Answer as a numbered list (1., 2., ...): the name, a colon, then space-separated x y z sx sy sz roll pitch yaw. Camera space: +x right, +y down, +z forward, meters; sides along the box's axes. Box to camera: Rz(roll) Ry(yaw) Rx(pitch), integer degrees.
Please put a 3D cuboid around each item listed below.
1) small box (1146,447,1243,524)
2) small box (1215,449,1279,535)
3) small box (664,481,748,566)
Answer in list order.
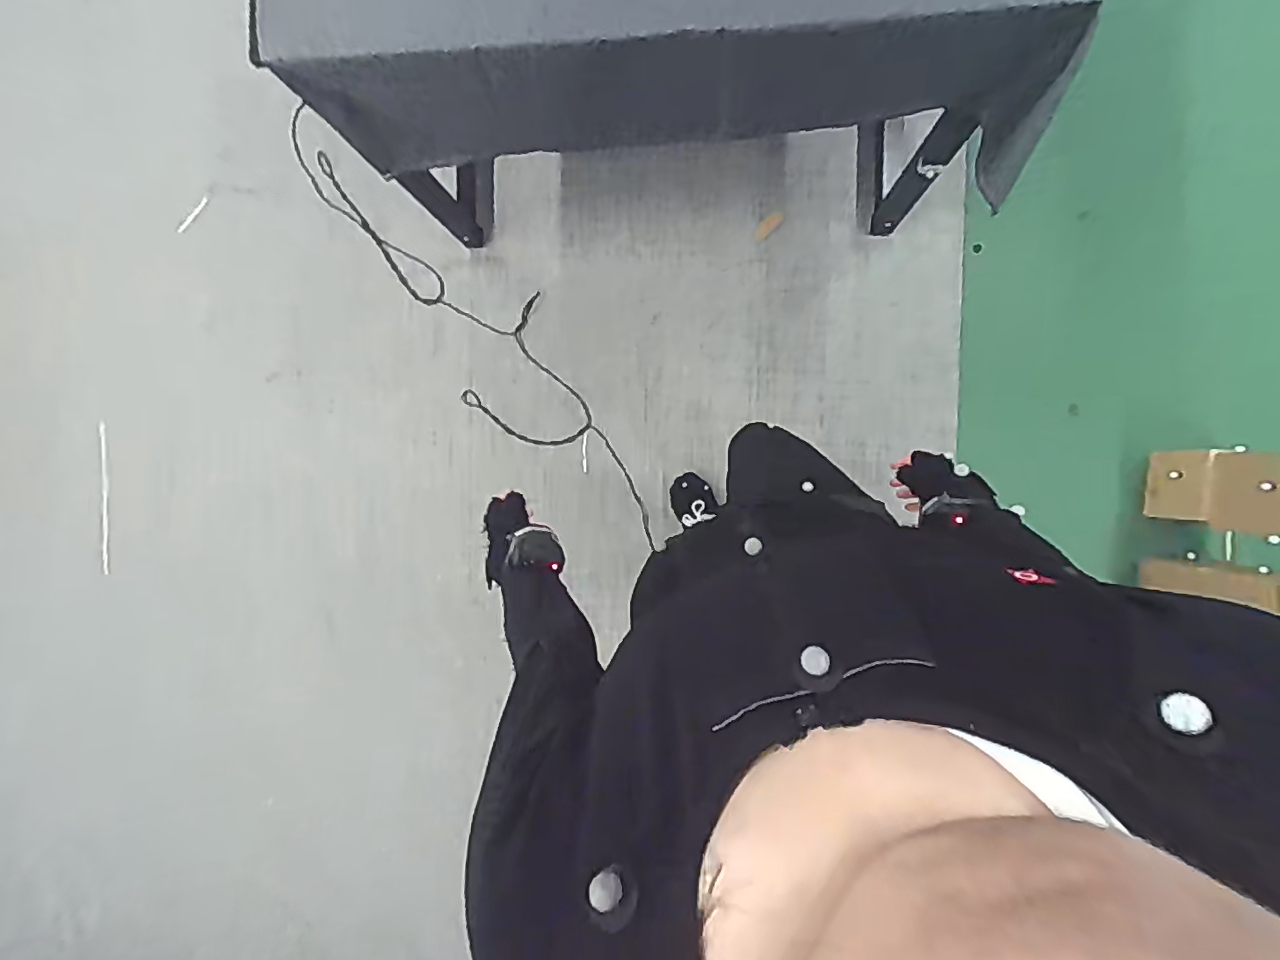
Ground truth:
1. small box: 1.358 0.018 1.276 0.179 0.176 0.168 6 91 5
2. small box: 1.351 0.028 1.111 0.168 0.176 0.179 5 91 6
3. small box: 0.172 0.109 1.420 0.179 0.176 0.168 12 105 22
